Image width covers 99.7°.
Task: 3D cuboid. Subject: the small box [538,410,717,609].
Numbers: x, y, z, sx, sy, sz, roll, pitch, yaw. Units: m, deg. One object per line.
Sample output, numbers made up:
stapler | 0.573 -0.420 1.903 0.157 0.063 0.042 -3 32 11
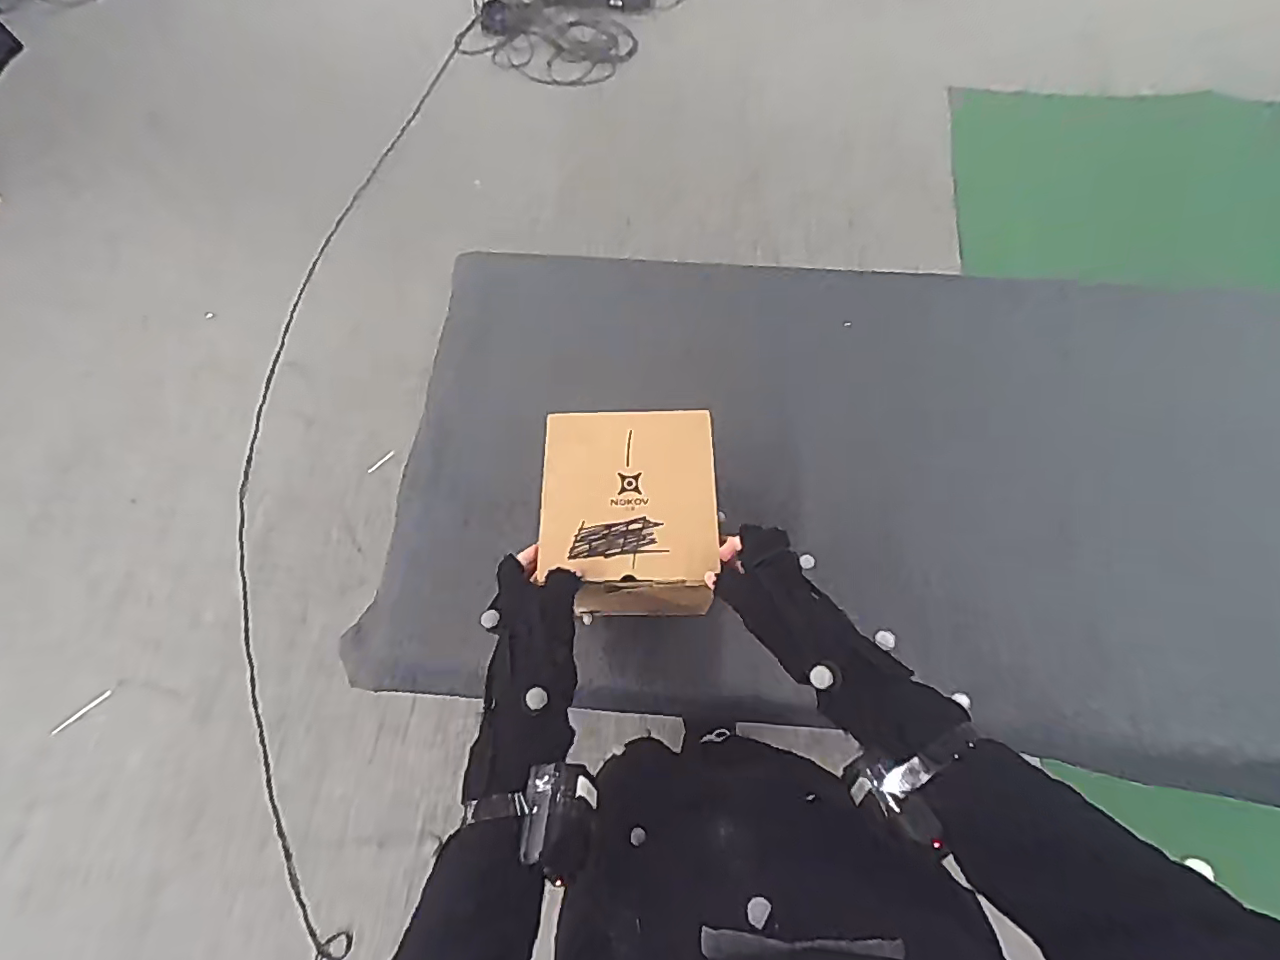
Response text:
small box | -0.006 0.041 0.587 0.168 0.176 0.179 -1 66 2
